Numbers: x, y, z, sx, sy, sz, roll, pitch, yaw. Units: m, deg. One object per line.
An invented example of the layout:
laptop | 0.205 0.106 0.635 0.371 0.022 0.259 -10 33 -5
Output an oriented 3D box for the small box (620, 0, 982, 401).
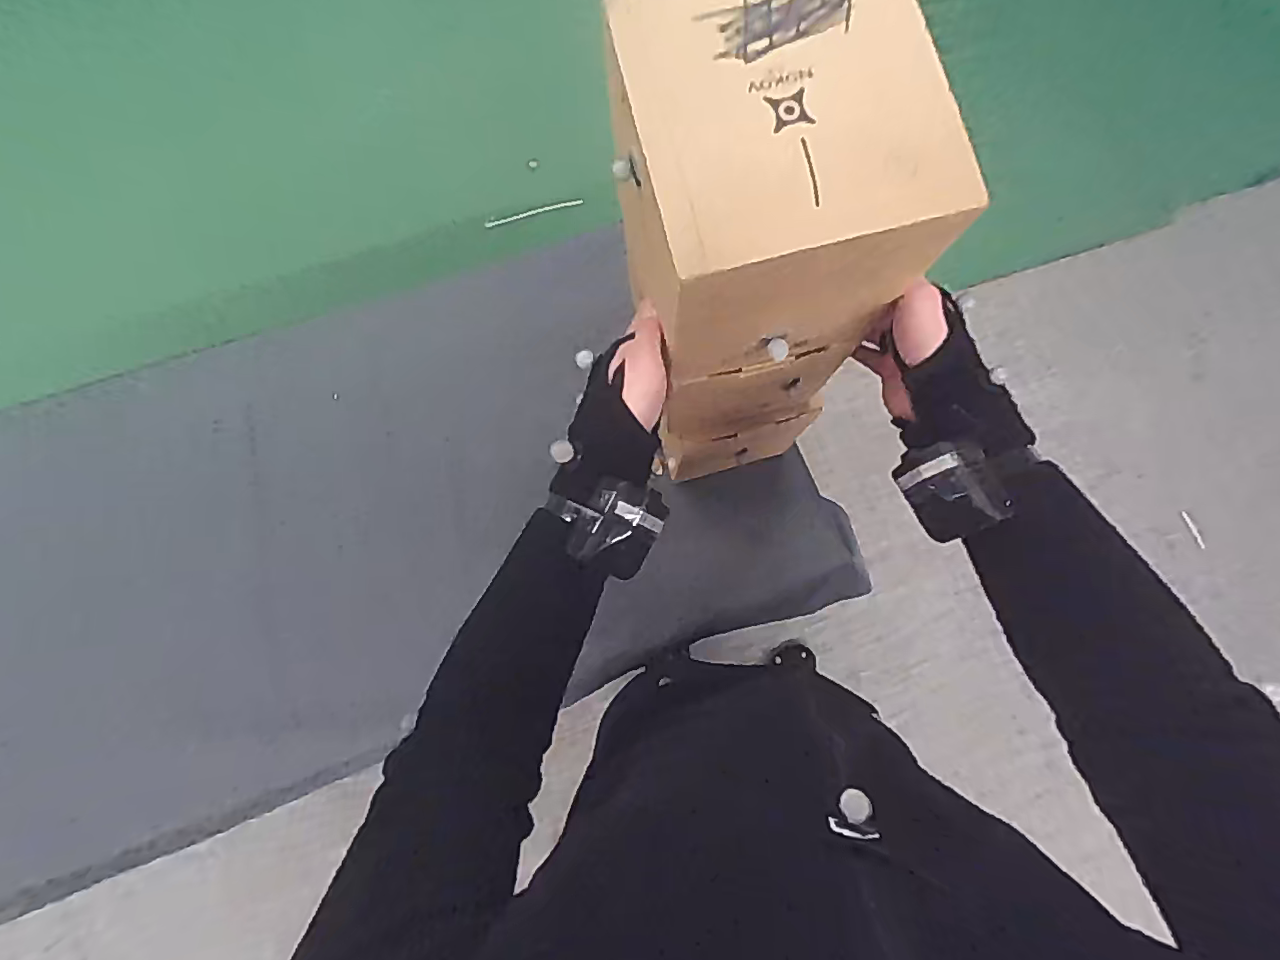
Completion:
small box | 0.086 -0.177 0.379 0.168 0.176 0.179 -14 80 -1

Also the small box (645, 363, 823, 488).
small box | 0.107 -0.097 0.701 0.168 0.176 0.179 -16 78 -5

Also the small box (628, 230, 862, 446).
small box | 0.090 -0.144 0.541 0.168 0.176 0.179 -14 78 -2
